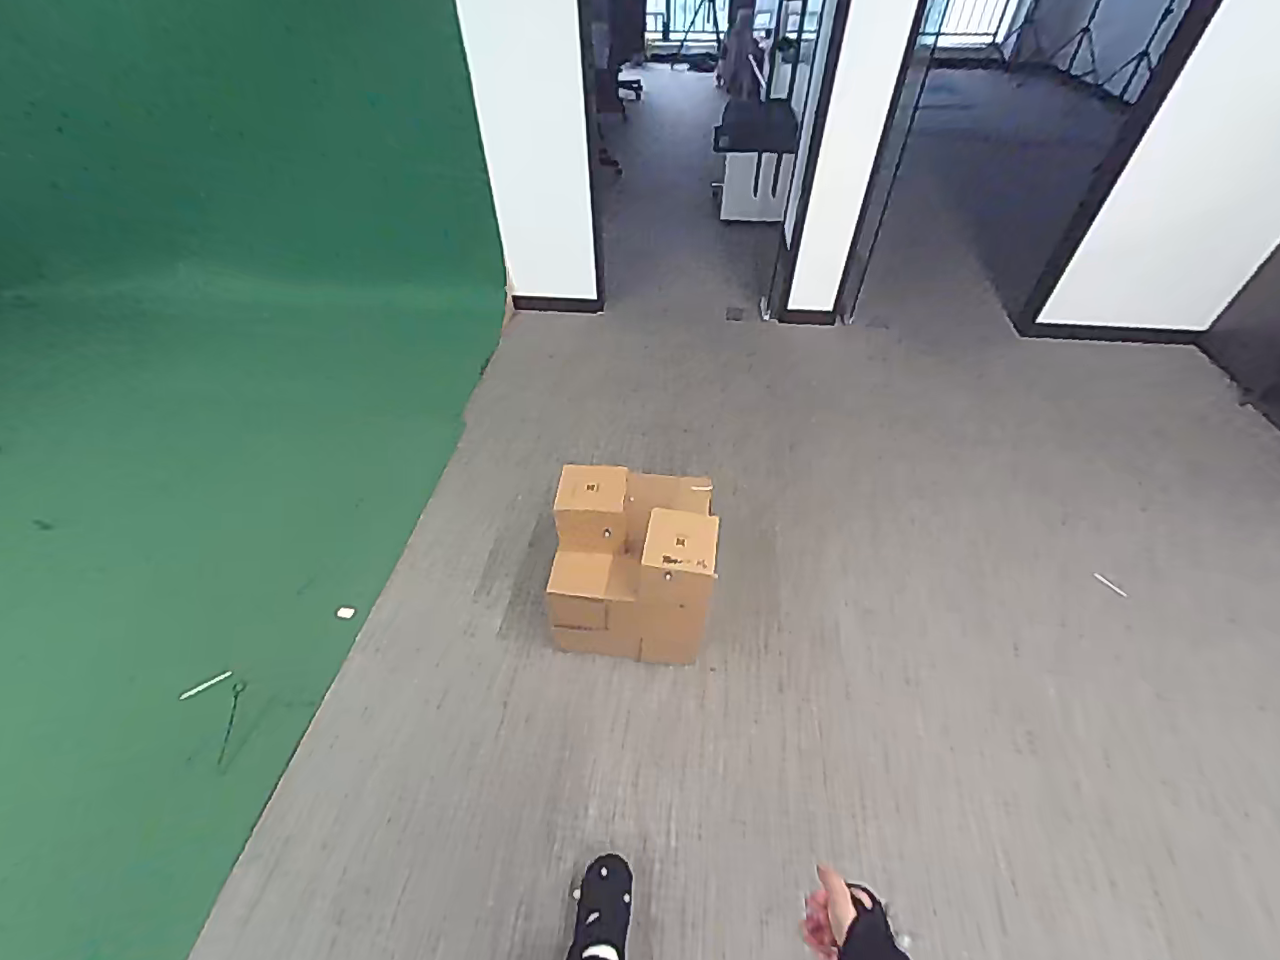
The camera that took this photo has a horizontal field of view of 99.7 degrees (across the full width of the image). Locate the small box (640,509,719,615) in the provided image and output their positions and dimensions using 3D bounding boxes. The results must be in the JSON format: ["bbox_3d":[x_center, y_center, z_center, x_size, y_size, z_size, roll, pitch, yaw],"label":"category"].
[{"bbox_3d":[0.094,0.199,1.313,0.168,0.176,0.179,8,45,7],"label":"small box"}]

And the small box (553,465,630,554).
[{"bbox_3d":[-0.121,0.081,1.434,0.179,0.176,0.168,2,44,4],"label":"small box"}]
